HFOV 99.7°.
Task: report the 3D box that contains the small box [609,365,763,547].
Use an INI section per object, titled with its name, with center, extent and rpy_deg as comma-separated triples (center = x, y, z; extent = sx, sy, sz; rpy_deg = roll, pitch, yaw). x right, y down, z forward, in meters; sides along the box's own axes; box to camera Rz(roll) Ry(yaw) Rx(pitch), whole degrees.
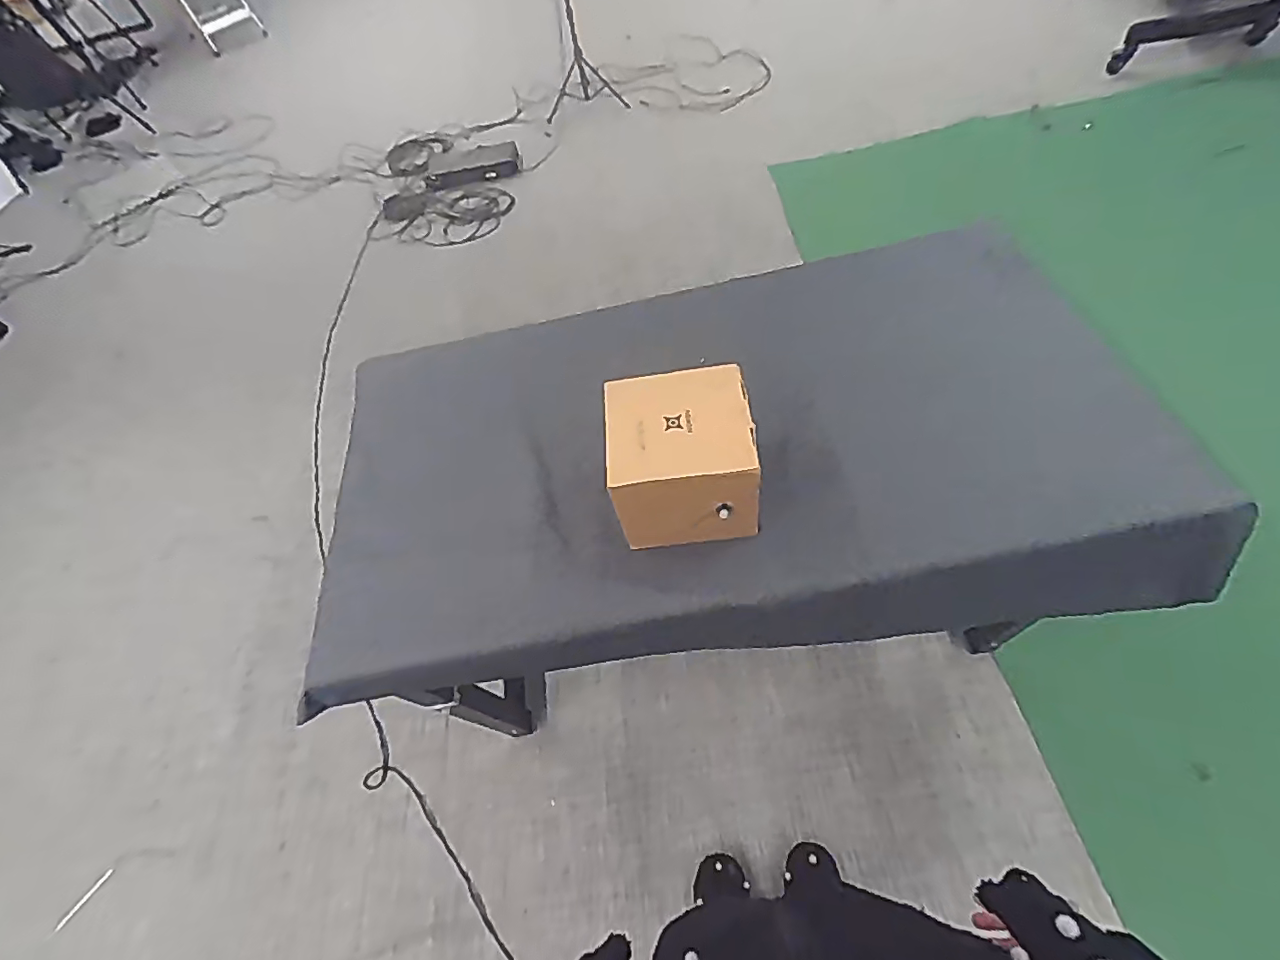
[small box]
center = 0.061, -0.025, 0.721
extent = 0.179, 0.176, 0.168
rpy_deg = -8, 56, 6
